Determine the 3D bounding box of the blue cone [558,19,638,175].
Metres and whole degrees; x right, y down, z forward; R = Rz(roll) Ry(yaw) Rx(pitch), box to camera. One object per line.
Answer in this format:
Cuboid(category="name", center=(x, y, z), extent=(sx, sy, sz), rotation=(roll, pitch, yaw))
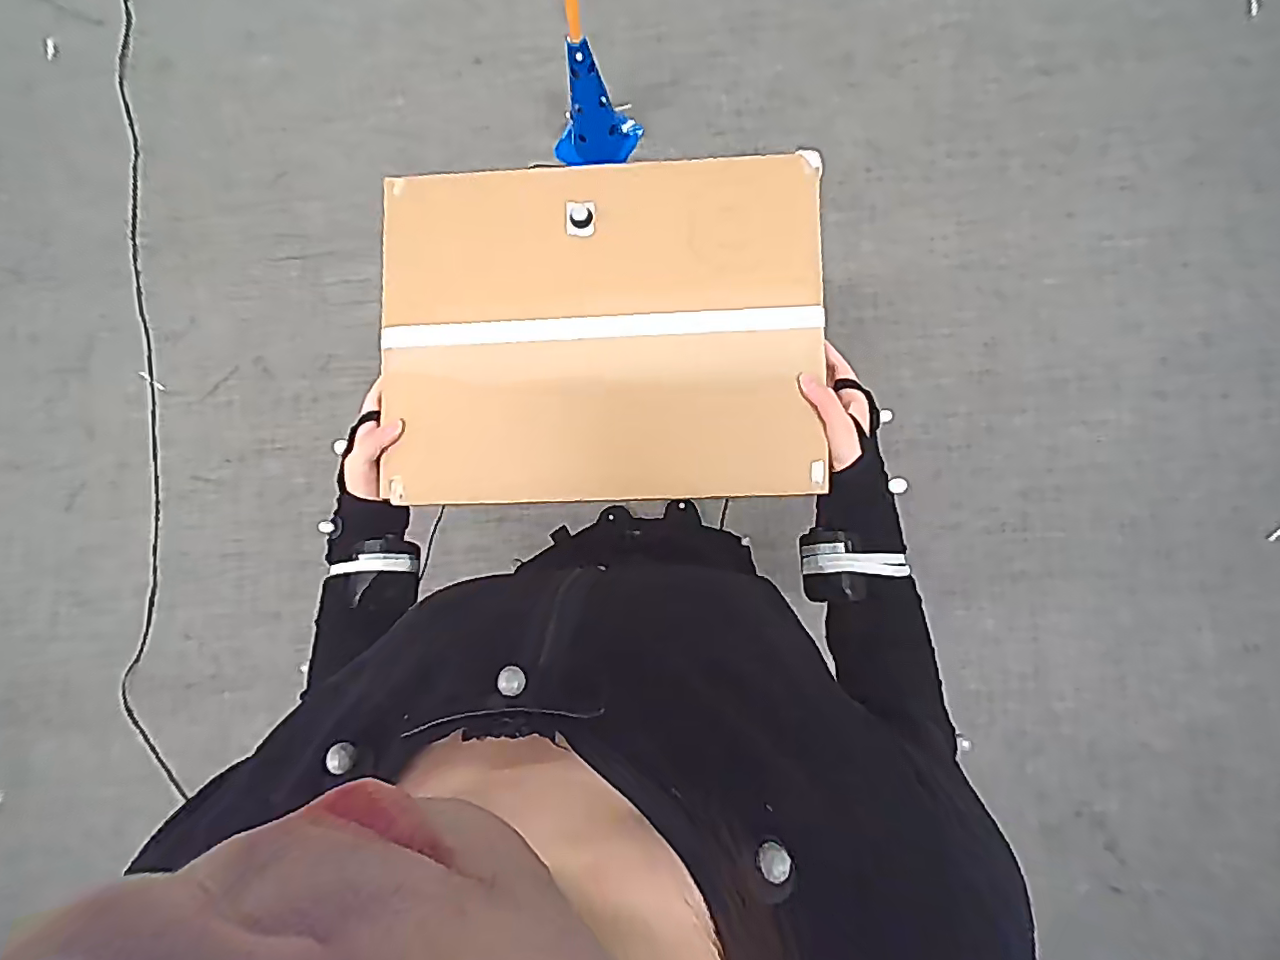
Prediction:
Cuboid(category="blue cone", center=(-0.126, -0.976, 1.351), extent=(0.192, 0.380, 0.193), rotation=(29, 90, 3))
